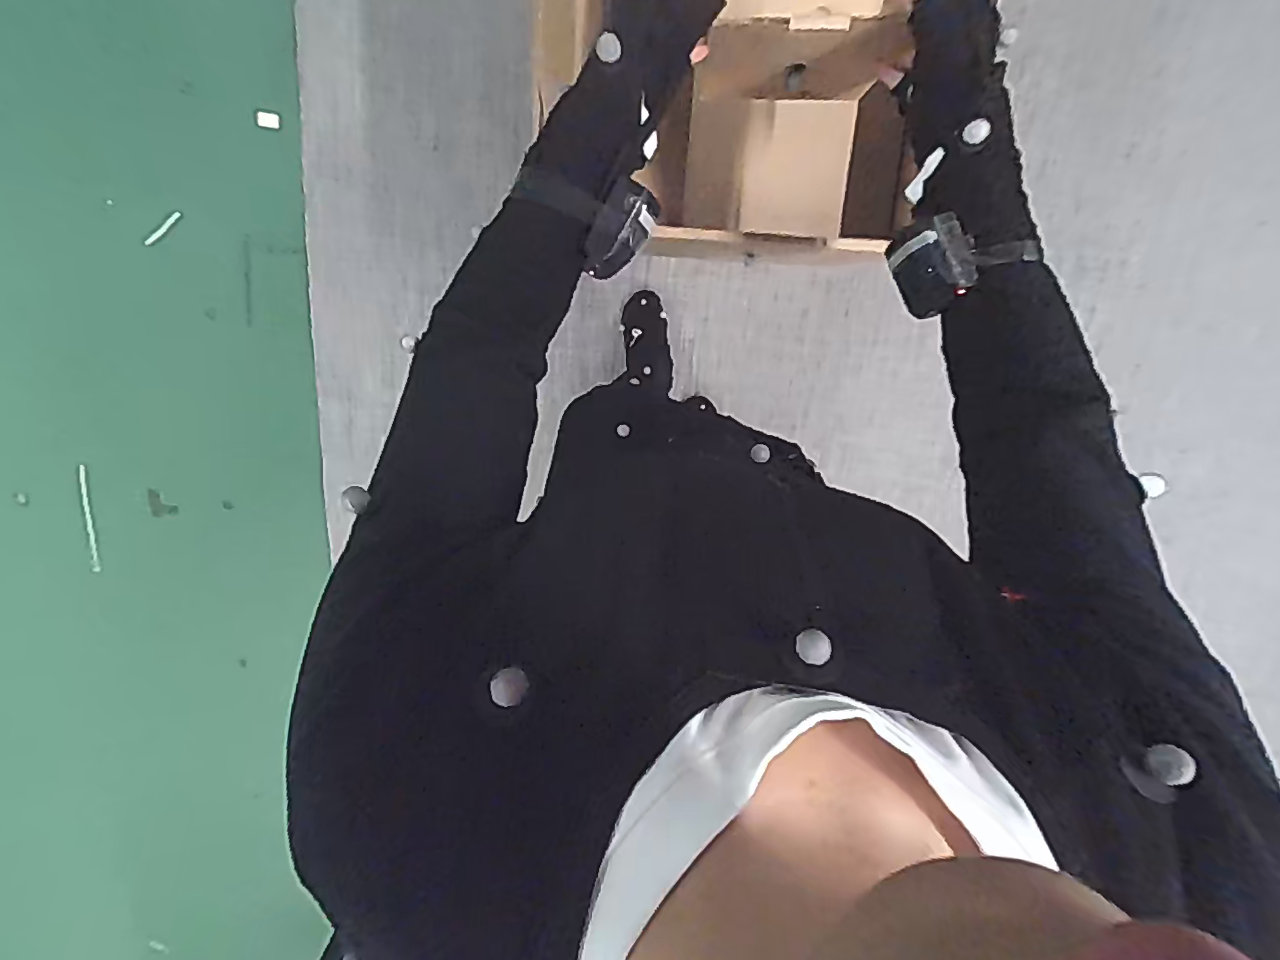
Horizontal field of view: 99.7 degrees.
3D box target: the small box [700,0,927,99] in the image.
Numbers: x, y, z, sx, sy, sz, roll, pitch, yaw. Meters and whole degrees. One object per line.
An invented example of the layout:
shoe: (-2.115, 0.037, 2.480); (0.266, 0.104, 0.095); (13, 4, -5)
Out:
small box: (0.139, -0.446, 0.455); (0.168, 0.176, 0.179); (2, 108, 3)
